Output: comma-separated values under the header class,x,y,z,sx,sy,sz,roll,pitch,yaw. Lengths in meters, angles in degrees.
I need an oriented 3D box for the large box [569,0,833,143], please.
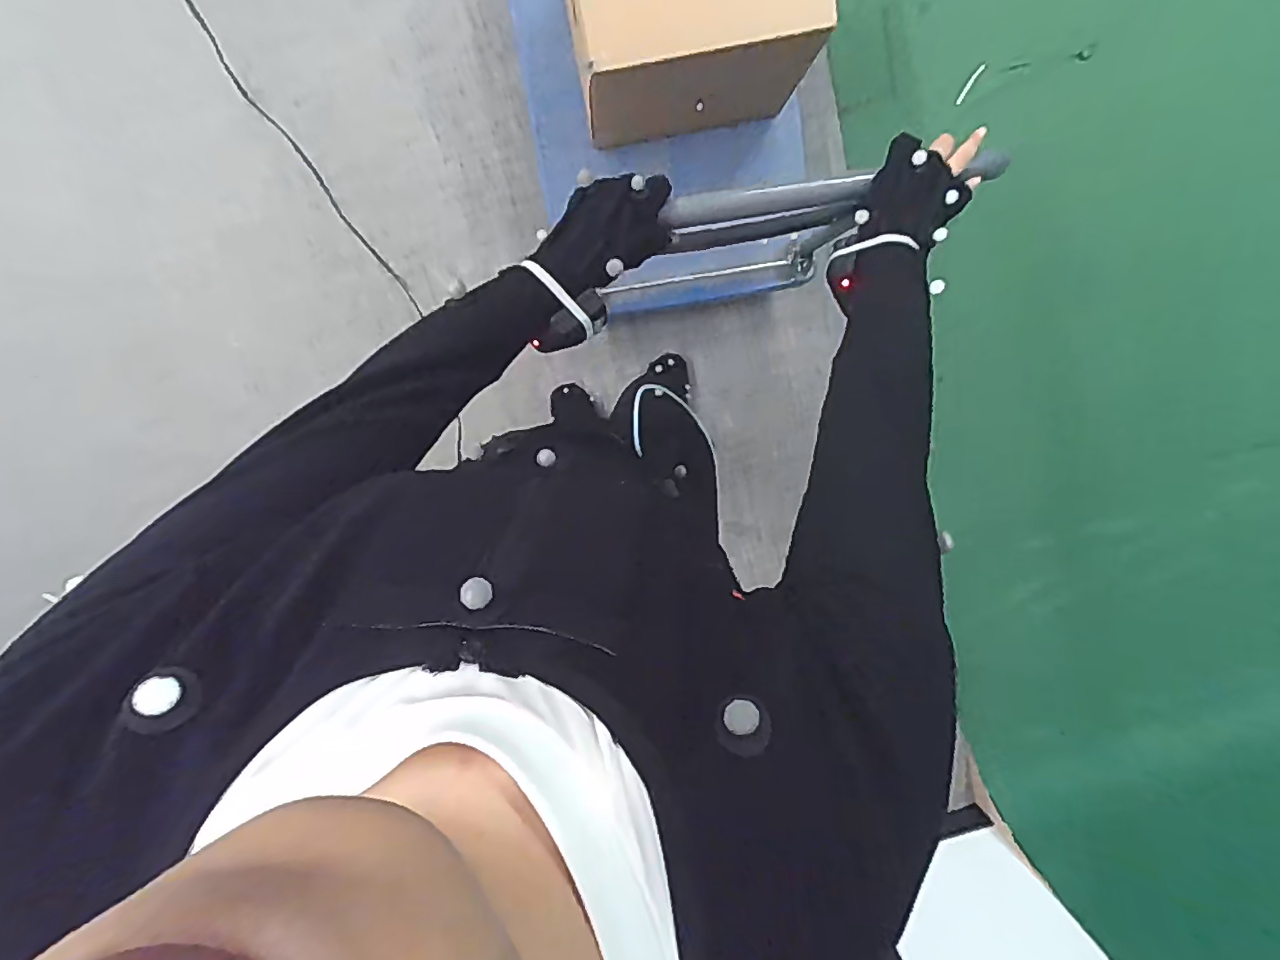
class,x,y,z,sx,sy,sz,roll,pitch,yaw
large box,0.082,-0.873,0.983,0.408,0.320,0.320,-12,102,0
